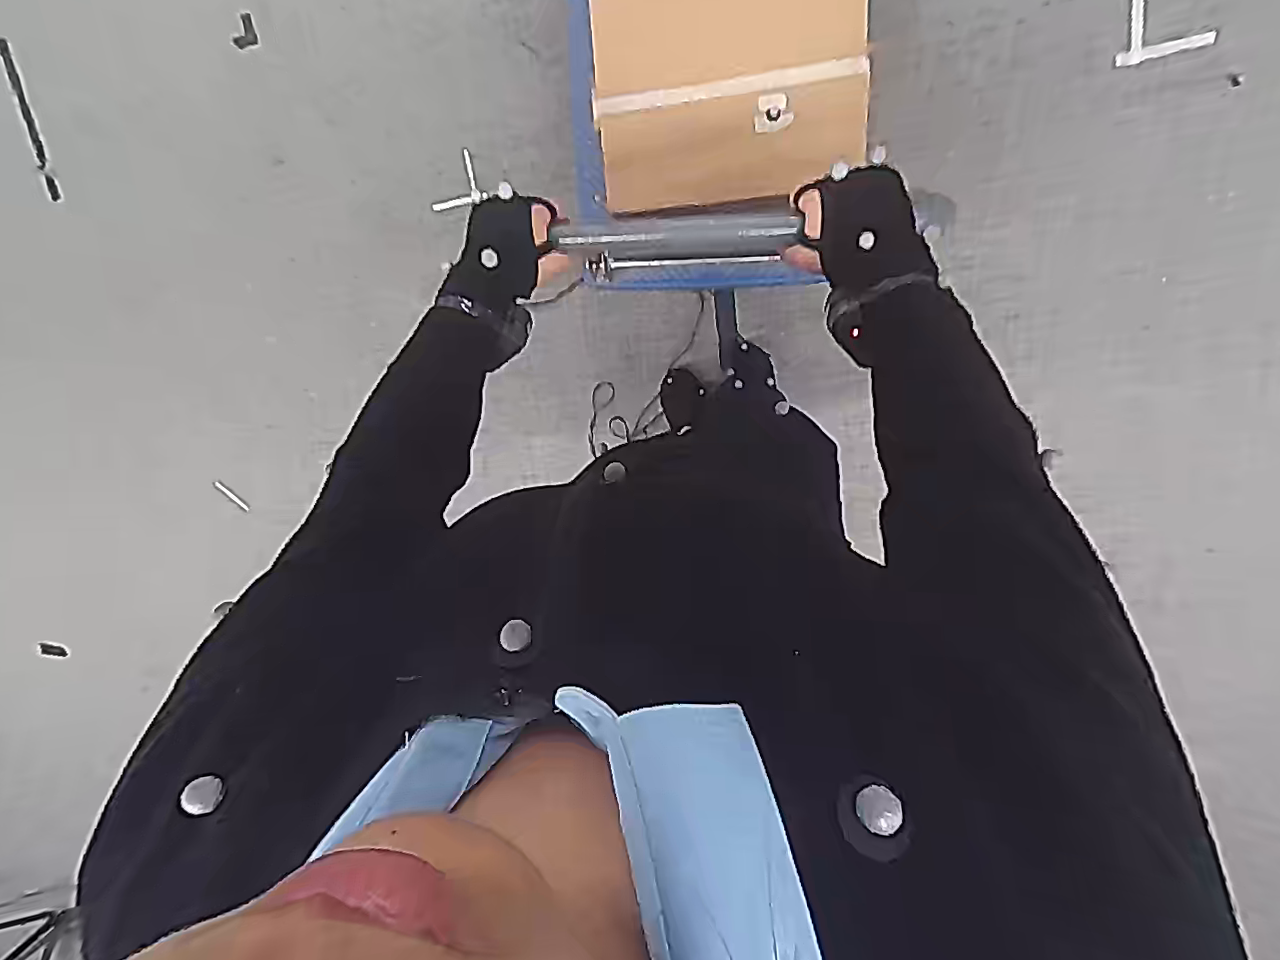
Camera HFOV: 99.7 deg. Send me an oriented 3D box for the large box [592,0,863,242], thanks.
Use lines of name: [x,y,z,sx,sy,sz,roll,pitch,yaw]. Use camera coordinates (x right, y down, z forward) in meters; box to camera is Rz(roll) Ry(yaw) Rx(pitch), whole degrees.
large box: [0.153,-0.640,0.975,0.408,0.320,0.320,-3,106,8]
